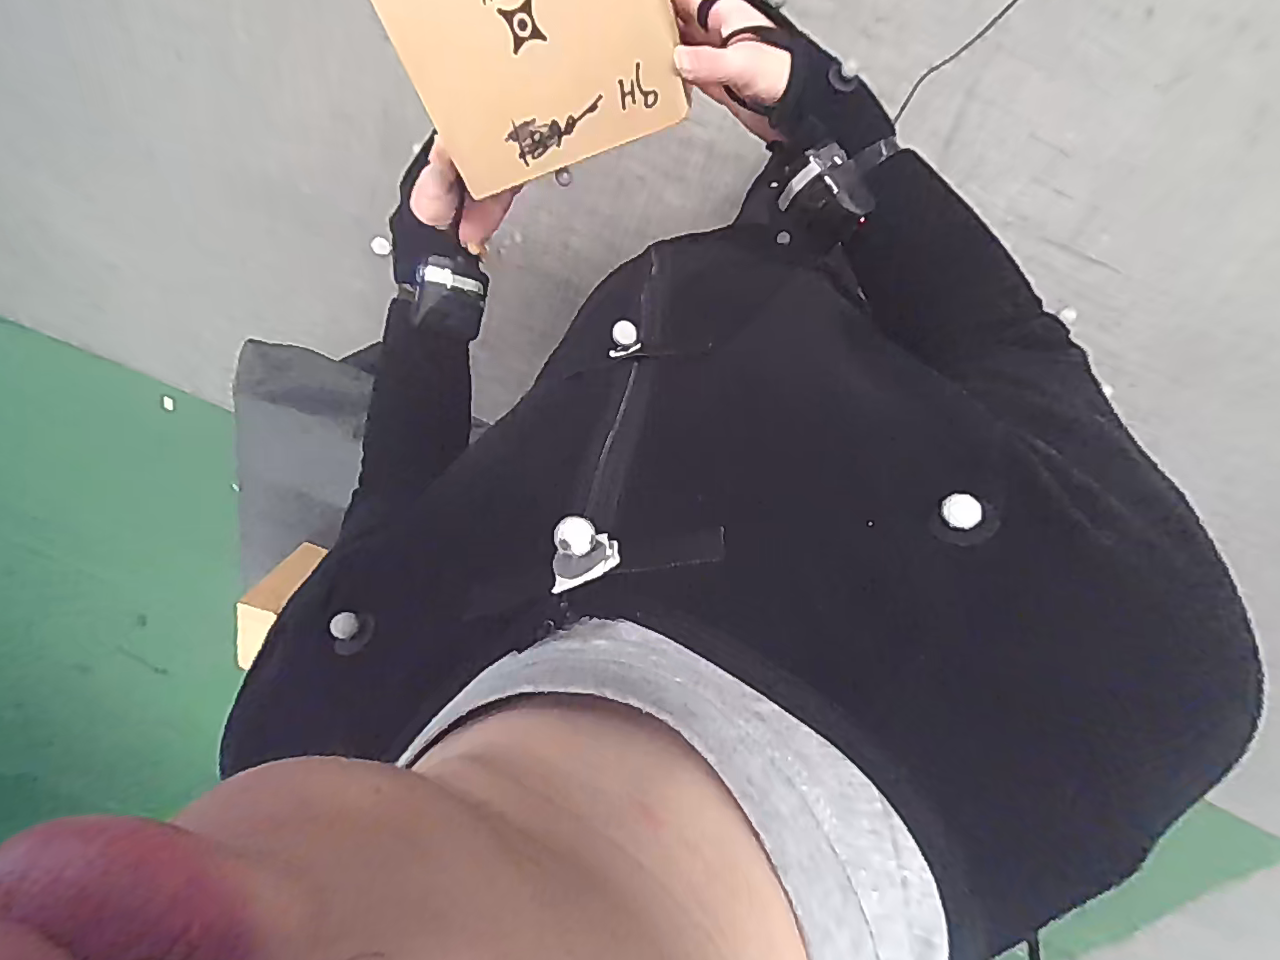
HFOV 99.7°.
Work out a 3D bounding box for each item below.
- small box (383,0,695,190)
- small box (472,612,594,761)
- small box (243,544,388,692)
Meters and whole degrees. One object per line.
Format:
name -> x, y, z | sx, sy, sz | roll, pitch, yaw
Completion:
small box -> -0.062, -0.336, 0.373 | 0.168, 0.176, 0.179 | -11, 131, 16
small box -> -0.196, 0.385, 1.022 | 0.168, 0.176, 0.179 | 19, 119, -4
small box -> -0.594, 0.248, 1.003 | 0.168, 0.176, 0.179 | 23, 121, -4
